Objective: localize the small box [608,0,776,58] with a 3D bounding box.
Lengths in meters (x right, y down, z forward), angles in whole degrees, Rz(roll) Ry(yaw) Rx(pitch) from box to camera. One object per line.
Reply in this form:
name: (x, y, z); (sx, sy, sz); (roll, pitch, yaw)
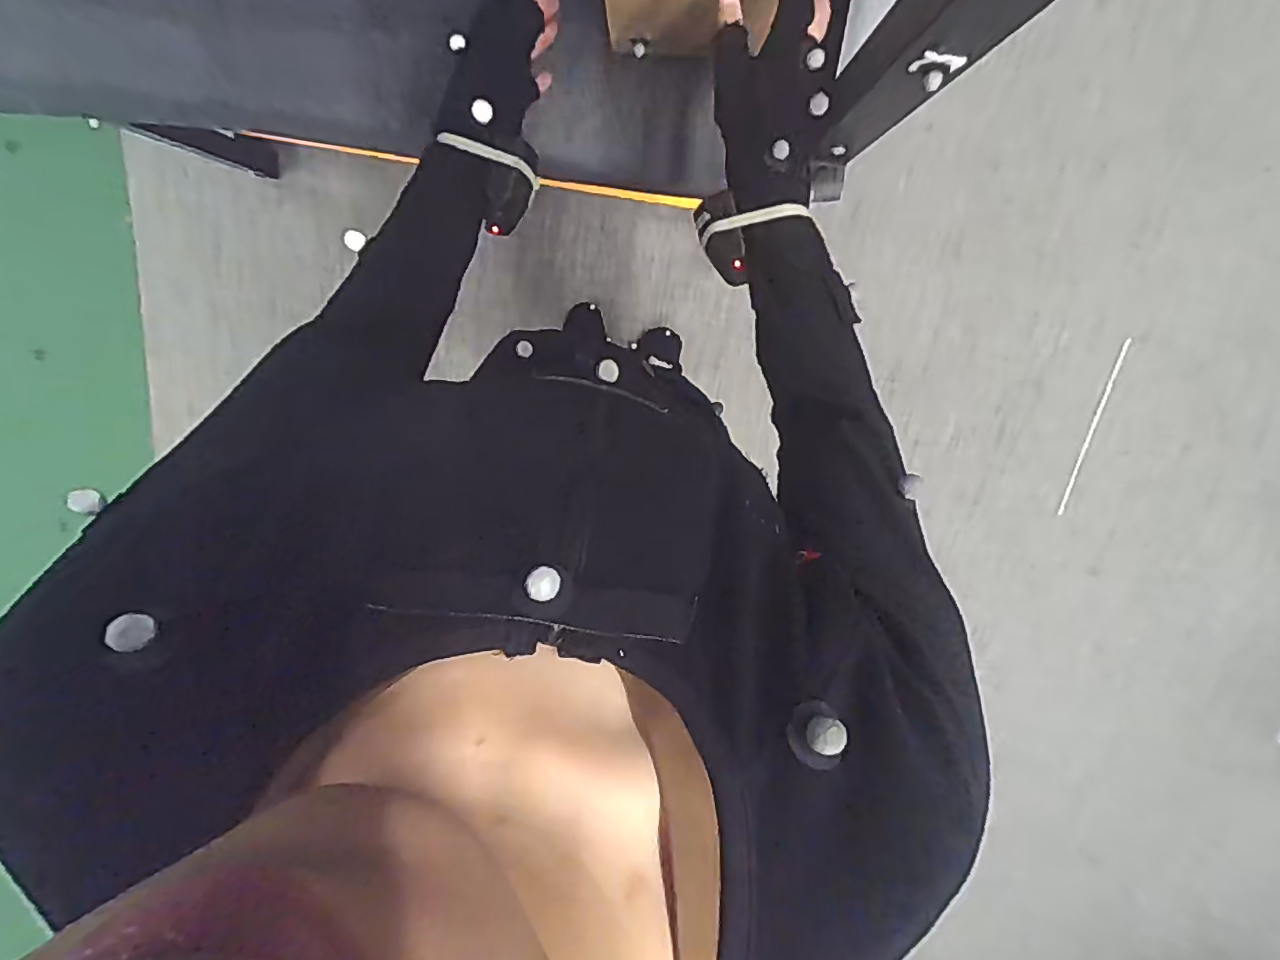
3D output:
small box: (0.054, -0.537, 0.511); (0.168, 0.176, 0.179); (3, 105, 1)
